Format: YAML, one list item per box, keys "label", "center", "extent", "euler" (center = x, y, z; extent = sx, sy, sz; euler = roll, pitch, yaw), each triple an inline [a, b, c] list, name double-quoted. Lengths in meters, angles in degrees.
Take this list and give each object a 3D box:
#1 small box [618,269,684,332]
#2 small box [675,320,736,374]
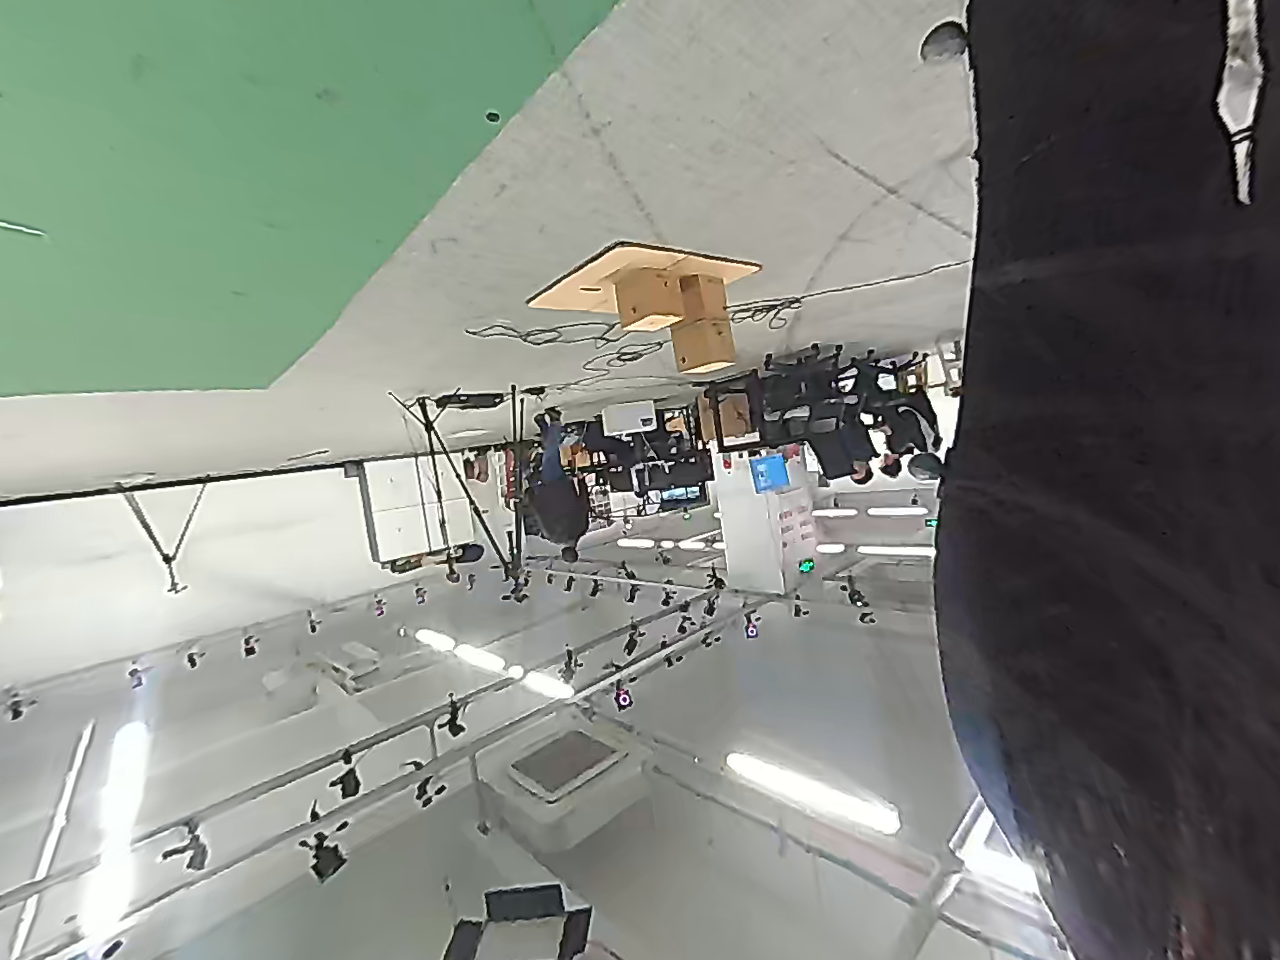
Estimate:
- label: "small box"
  center: [0.036, -0.646, 1.959]
  extent: [0.168, 0.176, 0.179]
  euler: [-10, -178, -38]
- label: "small box"
  center: [0.252, -0.516, 2.118]
  extent: [0.168, 0.176, 0.179]
  euler: [-12, -176, -43]
